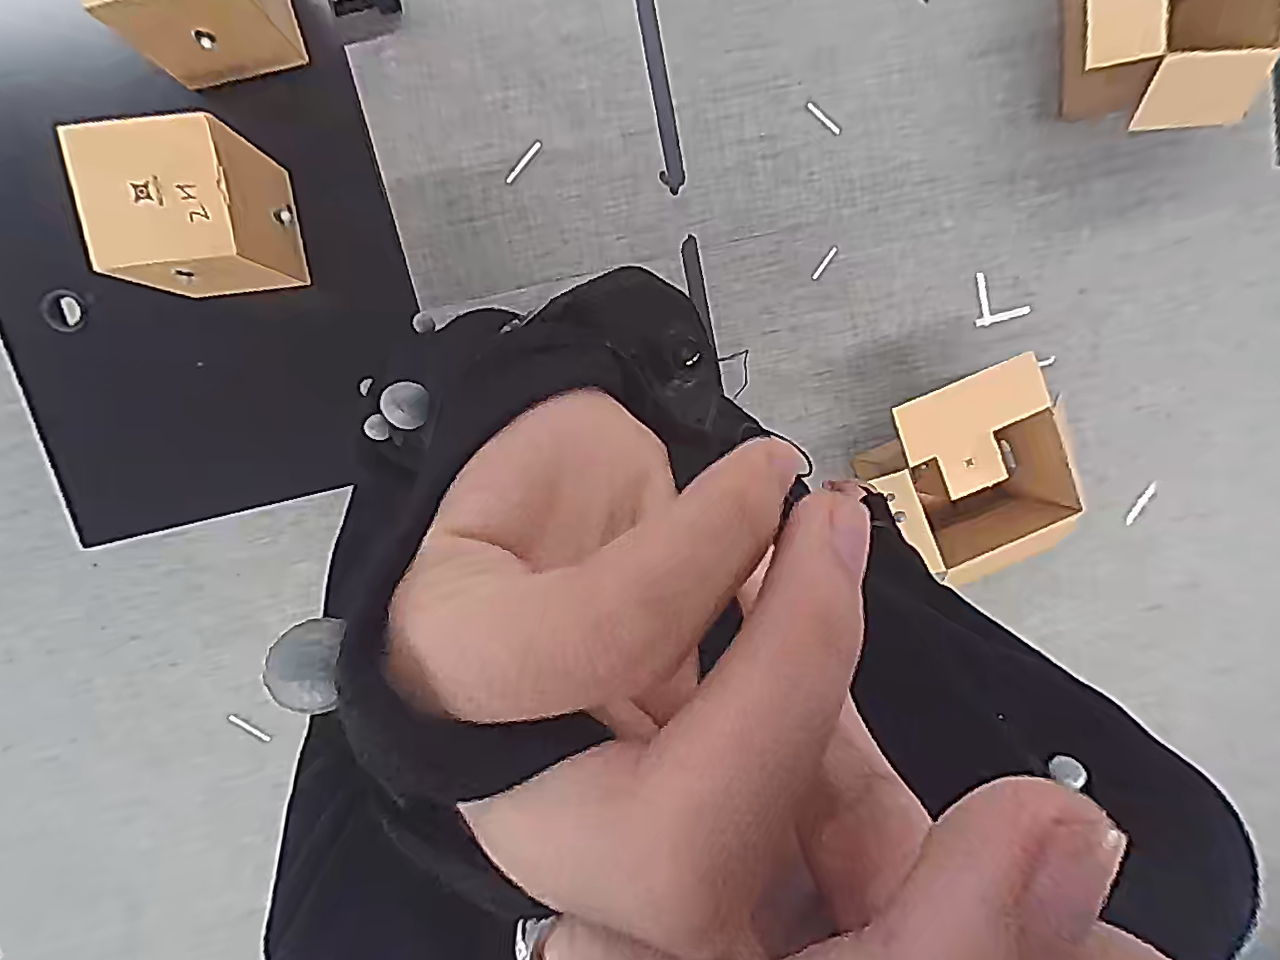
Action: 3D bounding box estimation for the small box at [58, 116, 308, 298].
[{"bbox_3d":[-0.592,-0.351,0.726,0.179,0.176,0.168,-8,99,-3],"label":"small box"}]
